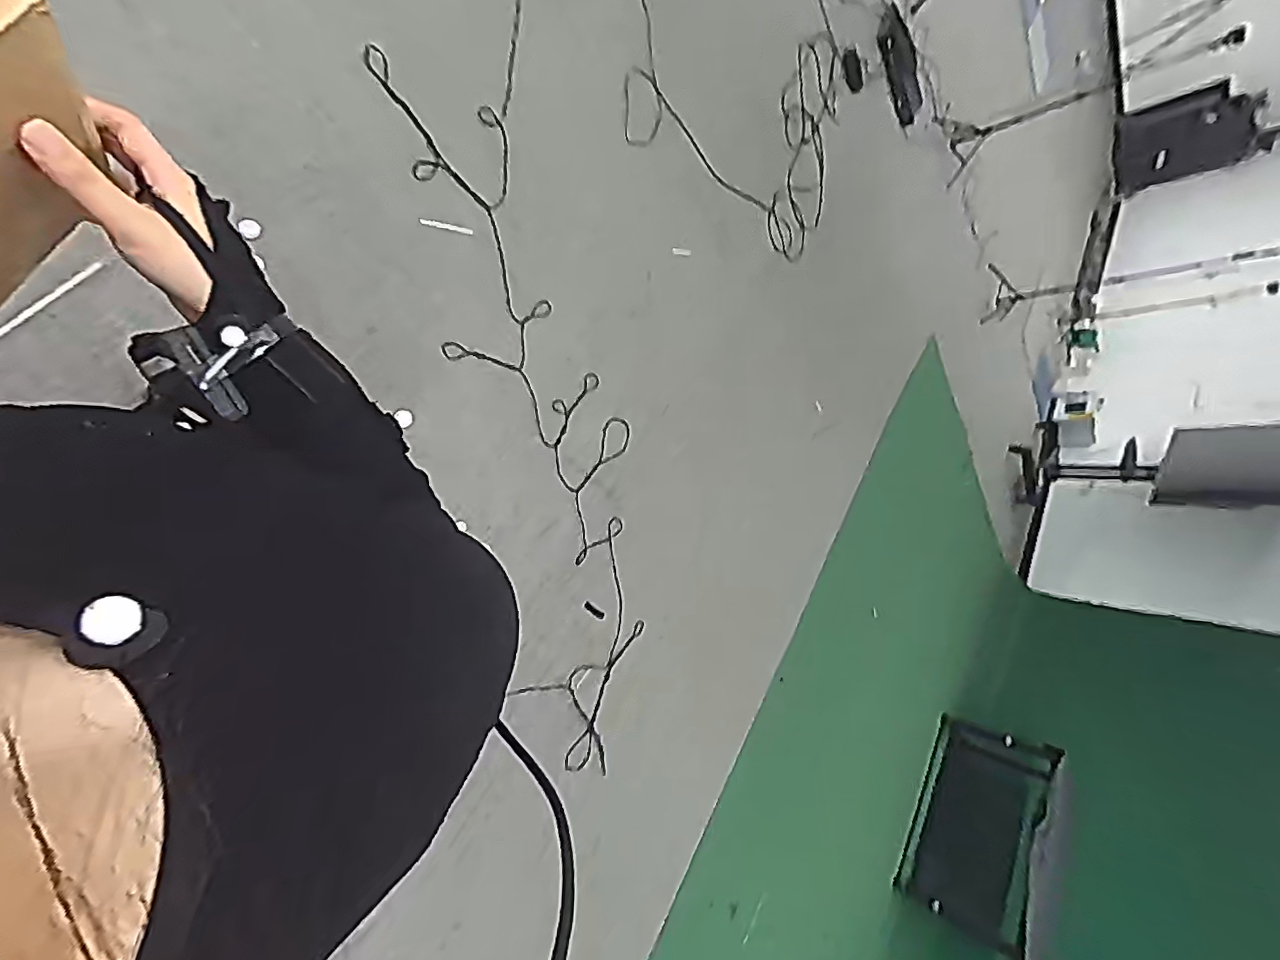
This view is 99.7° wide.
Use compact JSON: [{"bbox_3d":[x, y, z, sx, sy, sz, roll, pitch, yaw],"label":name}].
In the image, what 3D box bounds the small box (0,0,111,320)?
[{"bbox_3d":[-0.378,-0.159,0.225,0.168,0.176,0.179,35,70,-32],"label":"small box"}]
